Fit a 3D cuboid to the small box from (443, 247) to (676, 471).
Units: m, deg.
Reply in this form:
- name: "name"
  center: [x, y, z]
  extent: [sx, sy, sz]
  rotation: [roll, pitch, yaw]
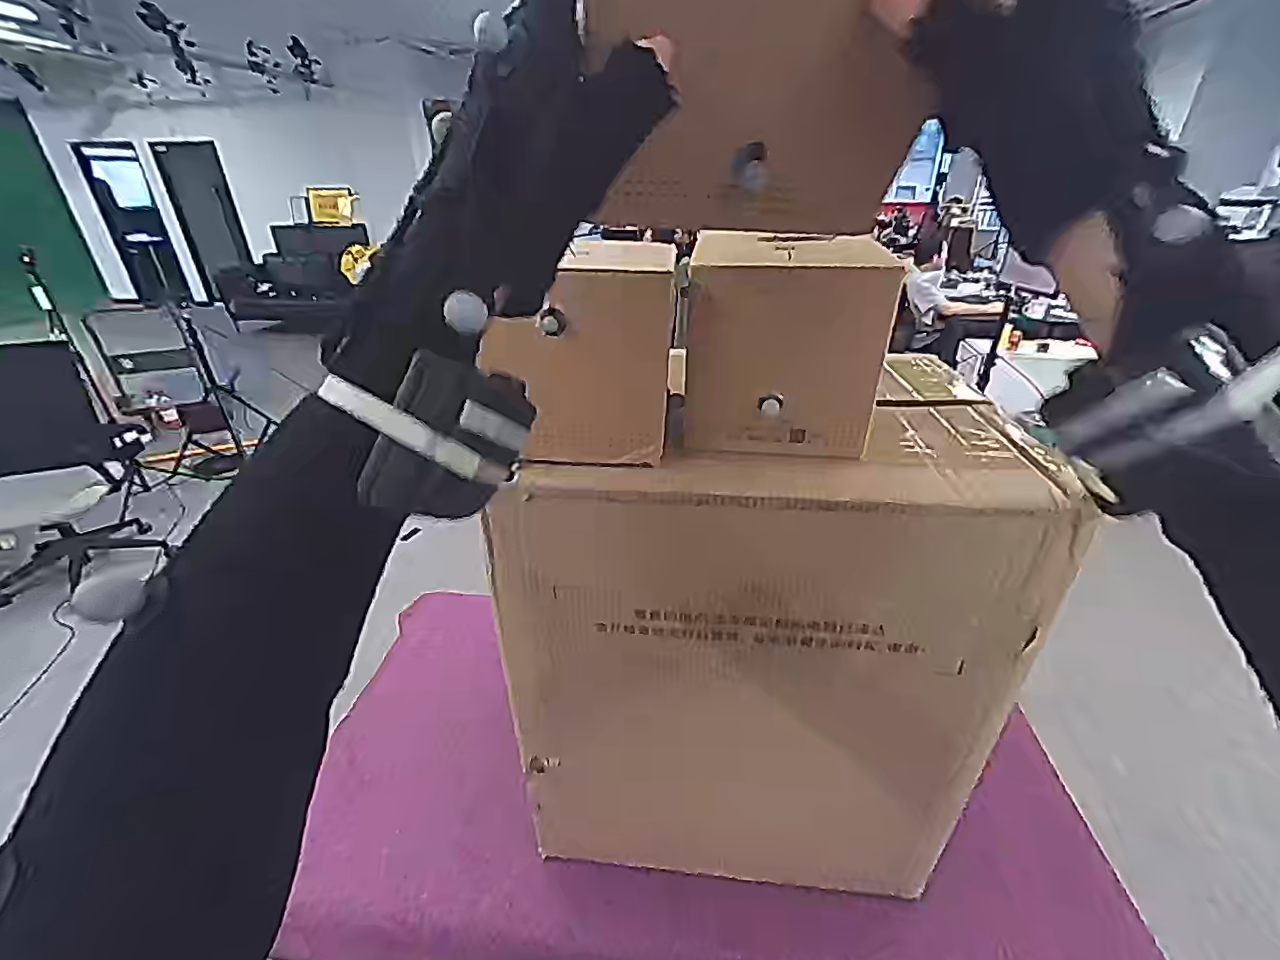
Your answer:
- name: "small box"
  center: [-0.059, -0.119, 0.510]
  extent: [0.179, 0.176, 0.168]
  rotation: [4, 30, 3]

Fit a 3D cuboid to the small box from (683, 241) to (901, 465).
- name: "small box"
  center: [0.131, -0.132, 0.529]
  extent: [0.168, 0.176, 0.179]
  rotation: [3, 32, 8]

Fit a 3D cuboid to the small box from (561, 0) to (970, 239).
- name: "small box"
  center: [0.048, -0.253, 0.290]
  extent: [0.179, 0.176, 0.168]
  rotation: [-1, 59, -9]
